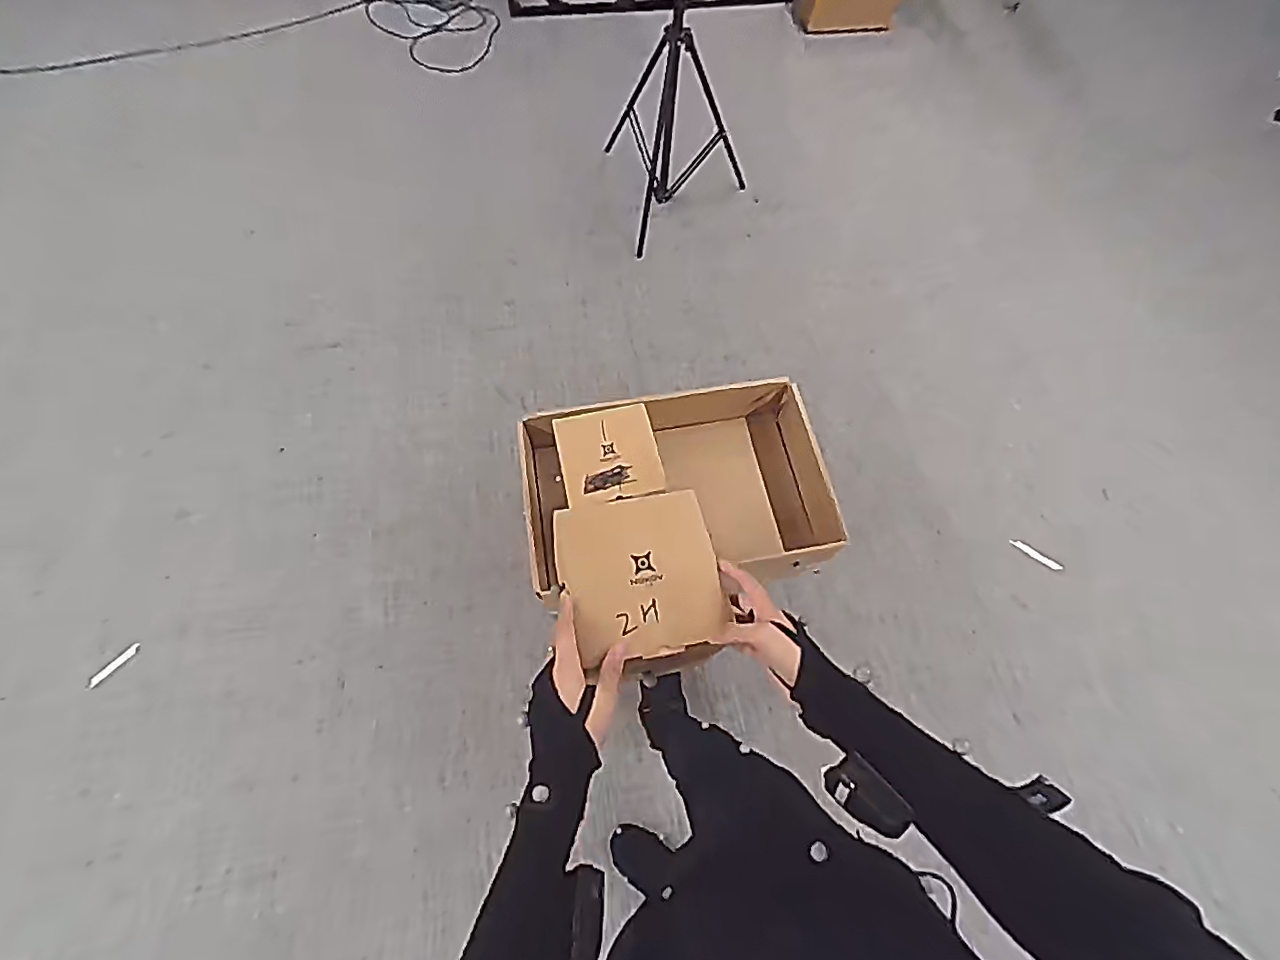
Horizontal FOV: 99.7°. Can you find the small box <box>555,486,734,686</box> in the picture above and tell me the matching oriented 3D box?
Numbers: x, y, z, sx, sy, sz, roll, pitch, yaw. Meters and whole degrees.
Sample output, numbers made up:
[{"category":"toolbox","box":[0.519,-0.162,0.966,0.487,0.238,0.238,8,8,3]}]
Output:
[{"category":"small box","box":[-0.009,0.130,0.644,0.168,0.176,0.179,-9,64,-12]}]

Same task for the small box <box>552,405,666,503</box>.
[{"category":"small box","box":[-0.053,-0.005,0.970,0.168,0.176,0.179,-12,65,-7]}]
